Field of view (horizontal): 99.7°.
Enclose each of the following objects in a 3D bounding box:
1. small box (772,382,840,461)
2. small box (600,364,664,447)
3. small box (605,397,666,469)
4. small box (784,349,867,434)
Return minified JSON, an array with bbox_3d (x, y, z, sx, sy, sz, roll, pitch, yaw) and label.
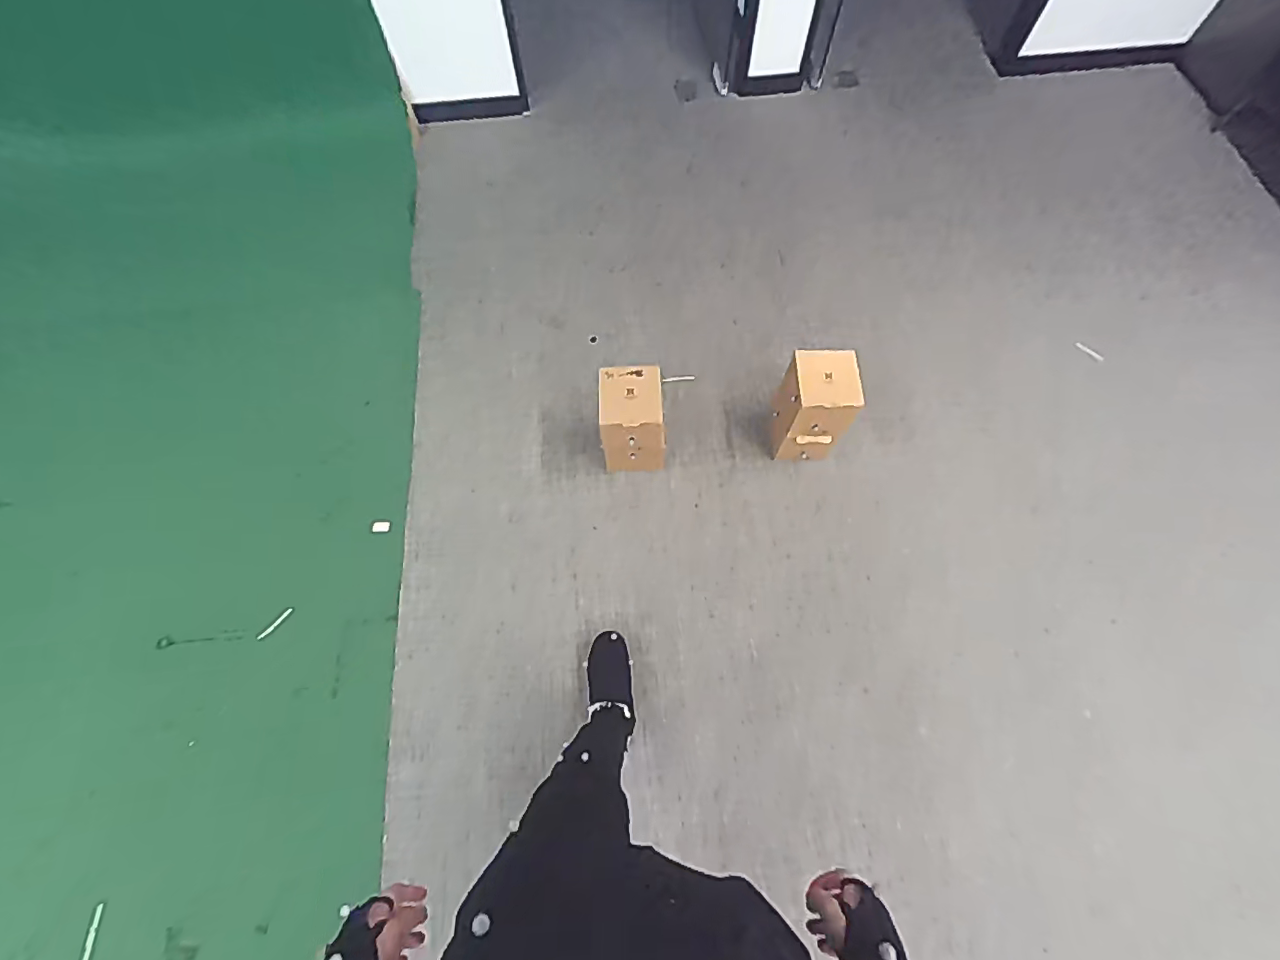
[{"bbox_3d":[0.497,-0.175,1.641,0.168,0.176,0.179,5,69,5],"label":"small box"},{"bbox_3d":[-0.019,-0.197,1.480,0.168,0.176,0.179,-1,69,0],"label":"small box"},{"bbox_3d":[-0.013,-0.139,1.633,0.179,0.176,0.168,0,68,0],"label":"small box"},{"bbox_3d":[0.503,-0.240,1.495,0.168,0.176,0.179,0,68,0],"label":"small box"}]
